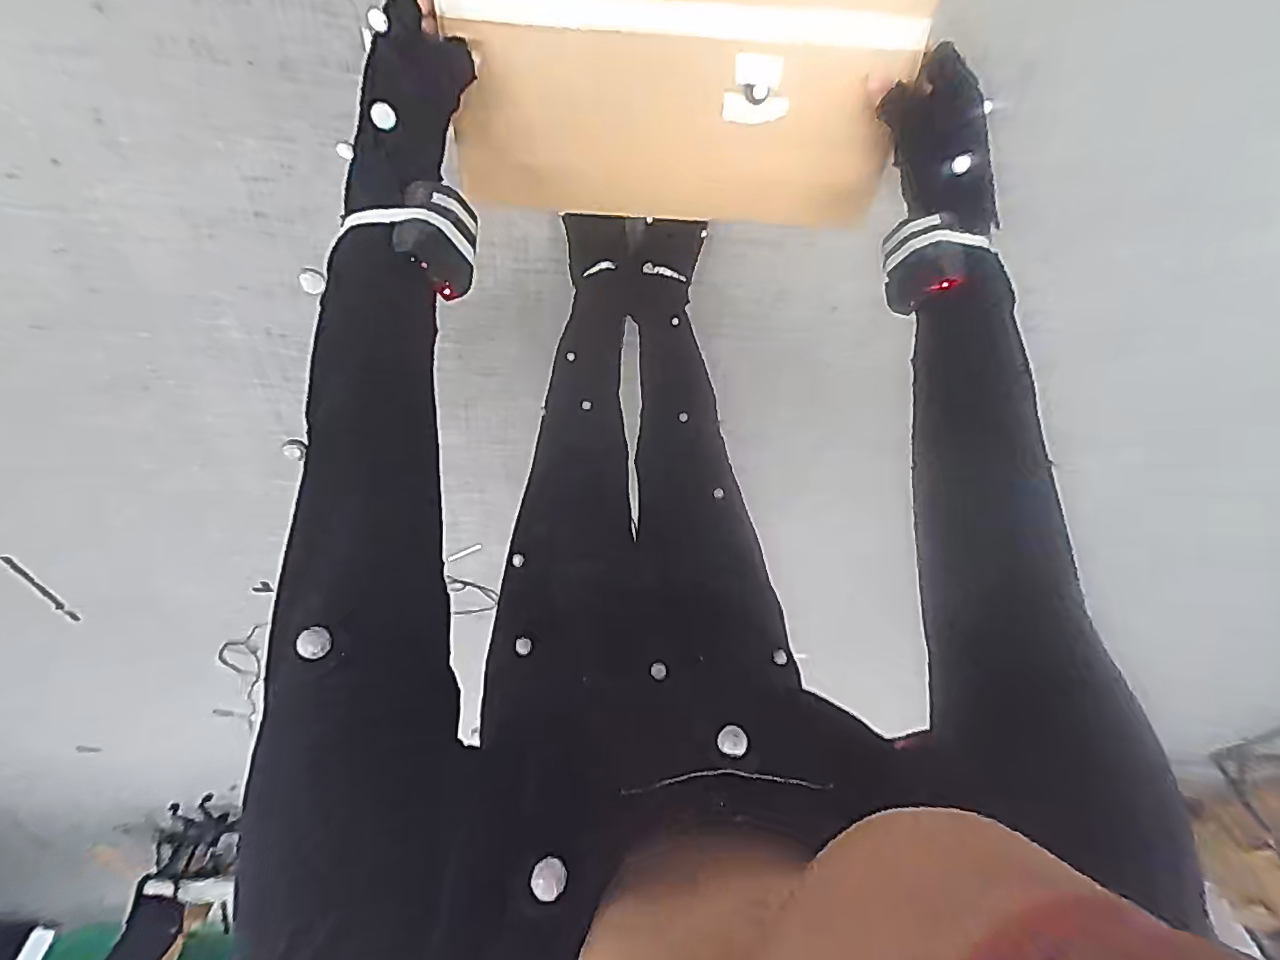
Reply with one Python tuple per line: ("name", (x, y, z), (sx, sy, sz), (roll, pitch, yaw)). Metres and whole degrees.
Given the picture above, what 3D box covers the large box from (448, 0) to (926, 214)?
("large box", (0.033, -0.491, 0.560), (0.408, 0.320, 0.320), (1, 134, -4))
